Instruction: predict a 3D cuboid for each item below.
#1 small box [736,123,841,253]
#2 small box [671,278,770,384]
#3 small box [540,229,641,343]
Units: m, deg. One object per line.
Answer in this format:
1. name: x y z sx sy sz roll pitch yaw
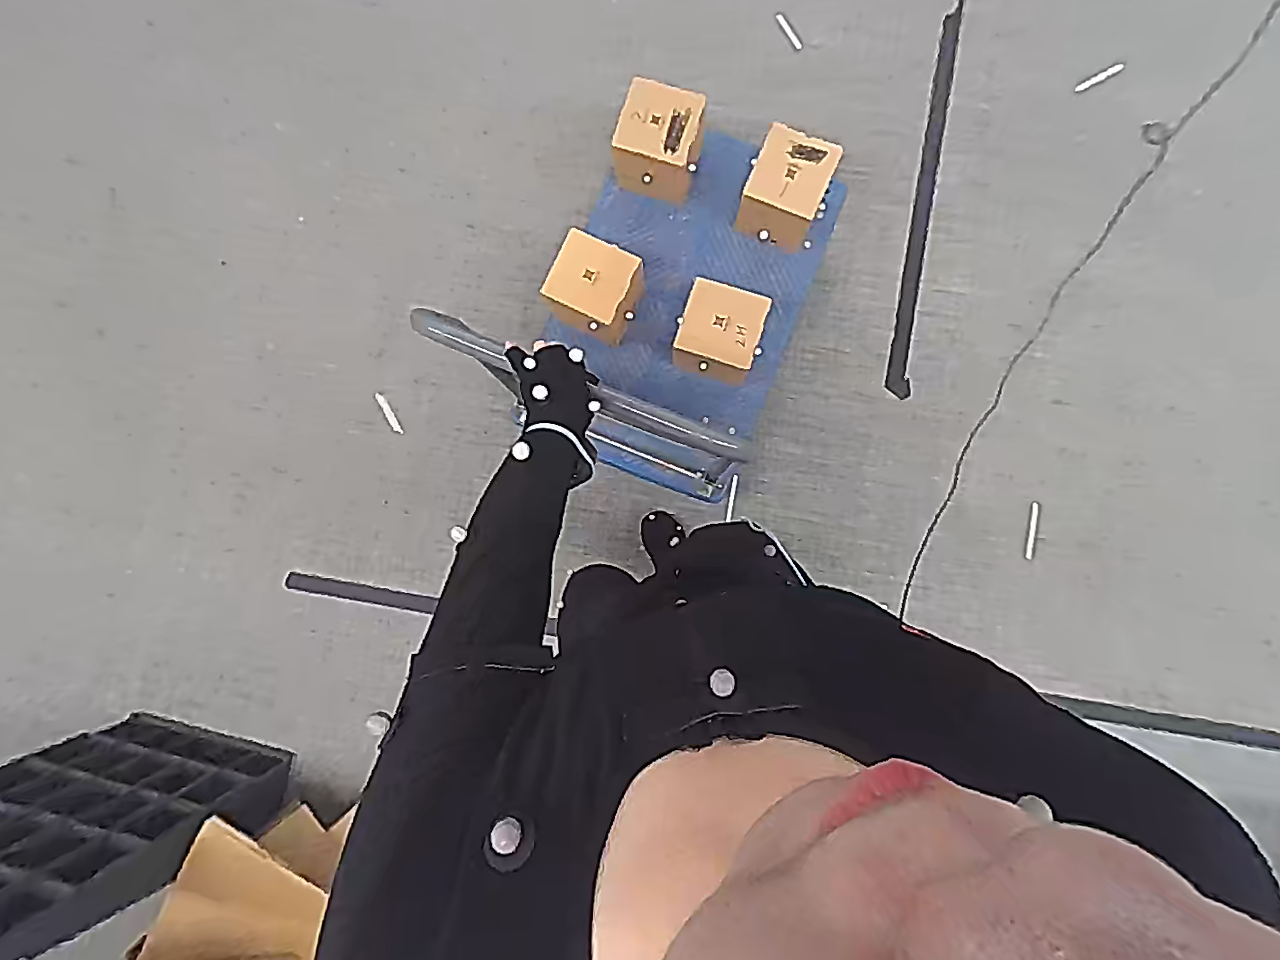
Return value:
1. small box: 0.333 -0.668 1.256 0.168 0.176 0.179 24 91 4
2. small box: 0.180 -0.335 1.252 0.179 0.176 0.168 19 89 4
3. small box: -0.108 -0.445 1.273 0.179 0.176 0.168 25 89 2
